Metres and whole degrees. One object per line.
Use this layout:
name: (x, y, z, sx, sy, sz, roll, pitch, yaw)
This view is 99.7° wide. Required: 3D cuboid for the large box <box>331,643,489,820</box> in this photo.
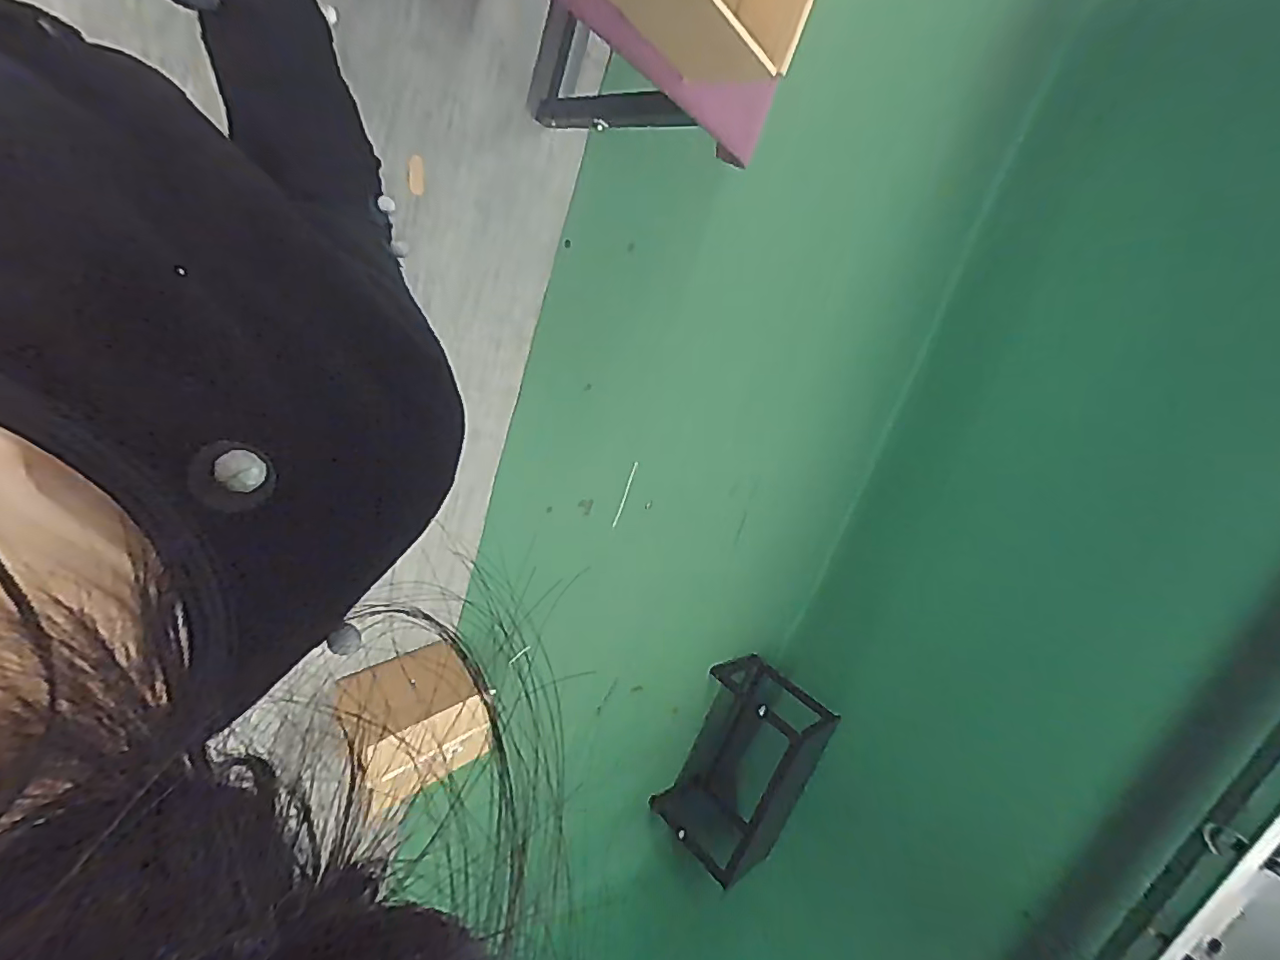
large box: (-0.775, 0.830, 1.844, 0.408, 0.320, 0.320, -15, 124, -42)
